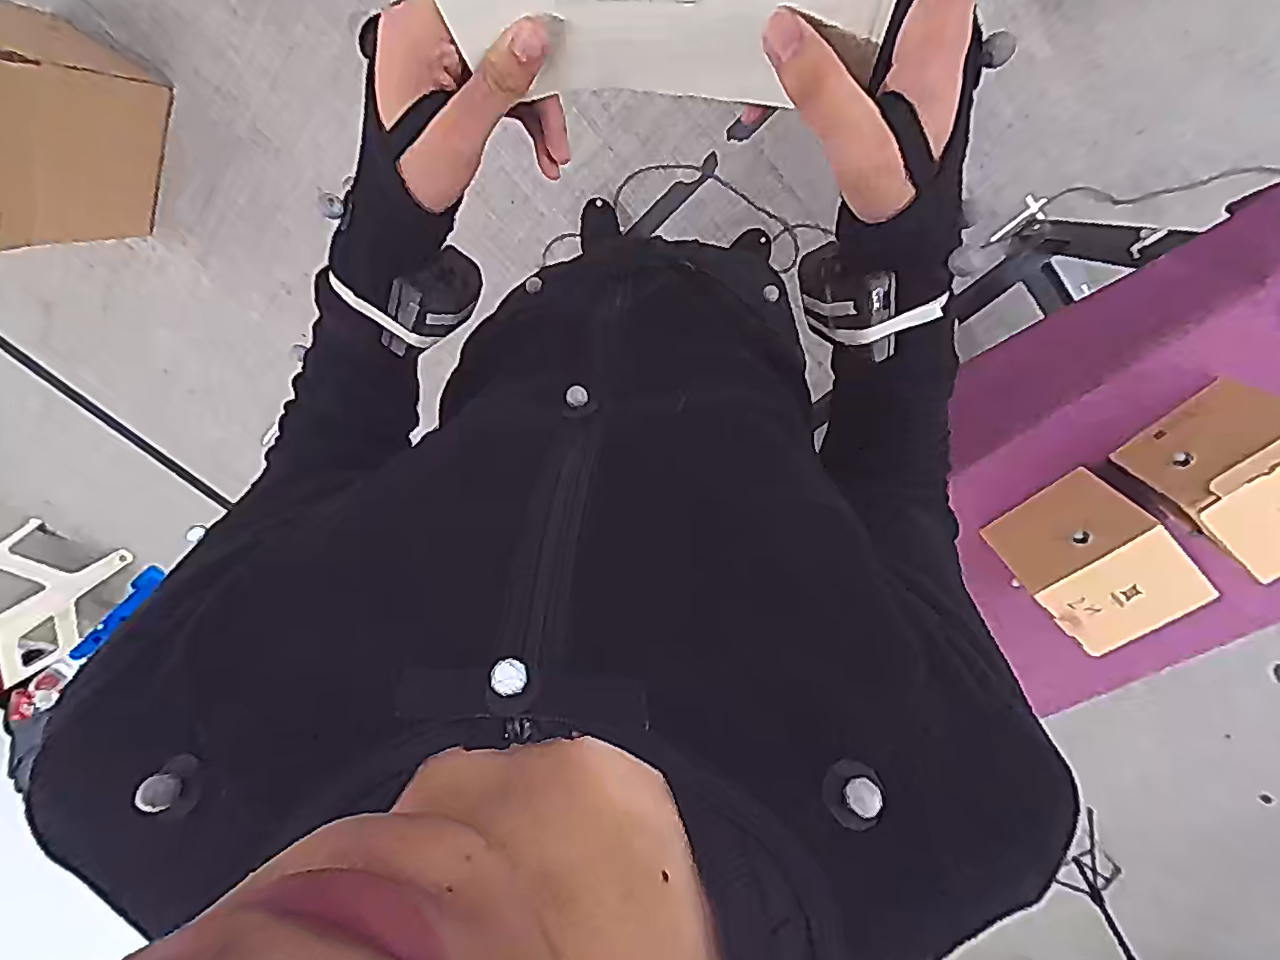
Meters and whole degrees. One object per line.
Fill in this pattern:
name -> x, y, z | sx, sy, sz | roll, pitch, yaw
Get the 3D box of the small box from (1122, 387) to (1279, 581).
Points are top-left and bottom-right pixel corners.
small box -> 0.823, -0.005, 0.731 | 0.179, 0.176, 0.168 | 36, 117, -14

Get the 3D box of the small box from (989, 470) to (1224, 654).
small box -> 0.679, 0.117, 0.811 | 0.168, 0.176, 0.179 | 40, 116, -15
